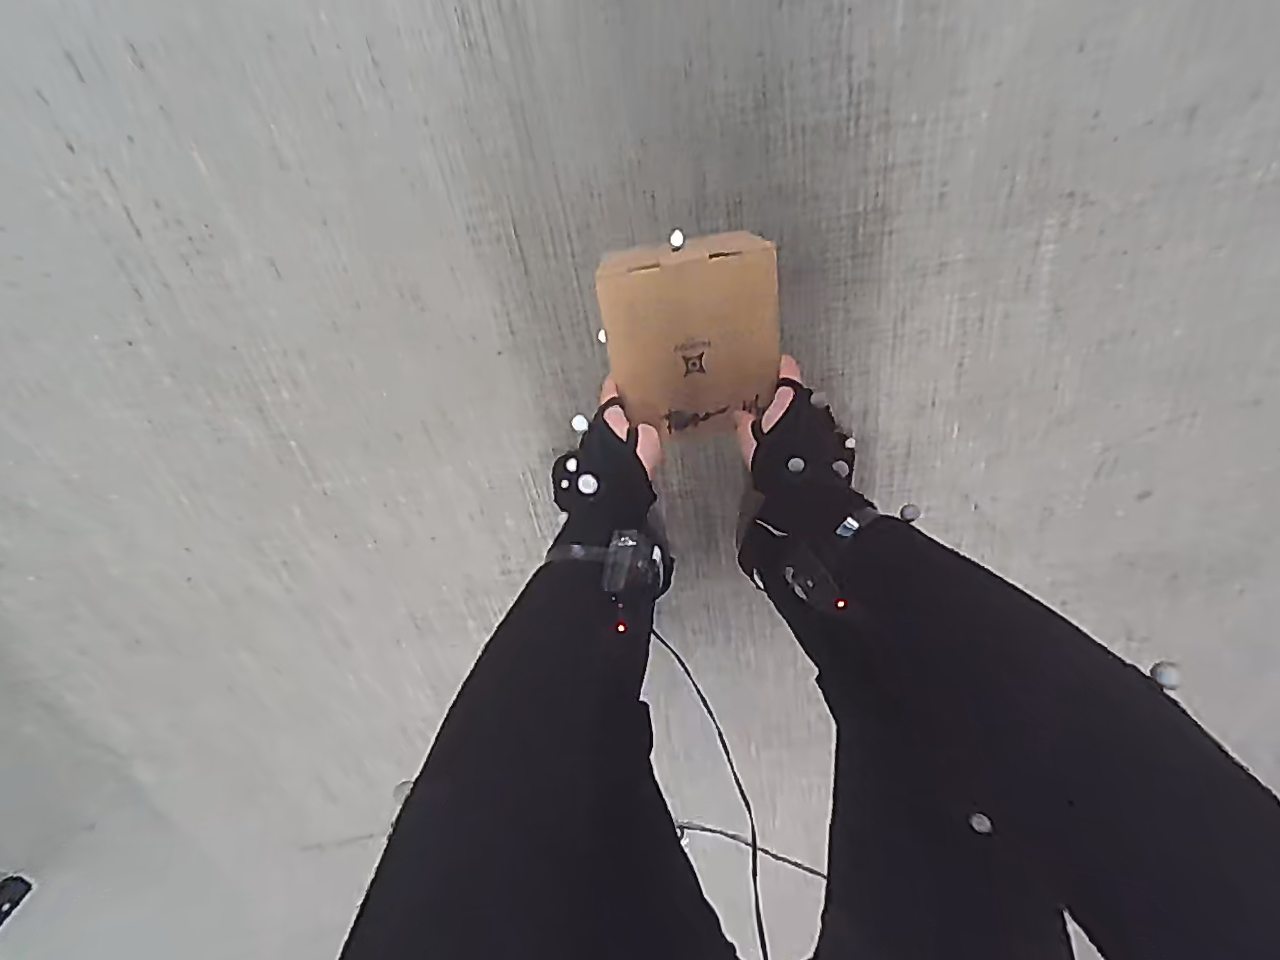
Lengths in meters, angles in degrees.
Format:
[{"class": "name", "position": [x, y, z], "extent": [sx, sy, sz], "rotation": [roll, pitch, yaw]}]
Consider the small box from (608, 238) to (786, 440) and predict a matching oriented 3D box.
[{"class": "small box", "position": [0.059, -0.164, 0.601], "extent": [0.168, 0.176, 0.179], "rotation": [-8, 117, 4]}]
